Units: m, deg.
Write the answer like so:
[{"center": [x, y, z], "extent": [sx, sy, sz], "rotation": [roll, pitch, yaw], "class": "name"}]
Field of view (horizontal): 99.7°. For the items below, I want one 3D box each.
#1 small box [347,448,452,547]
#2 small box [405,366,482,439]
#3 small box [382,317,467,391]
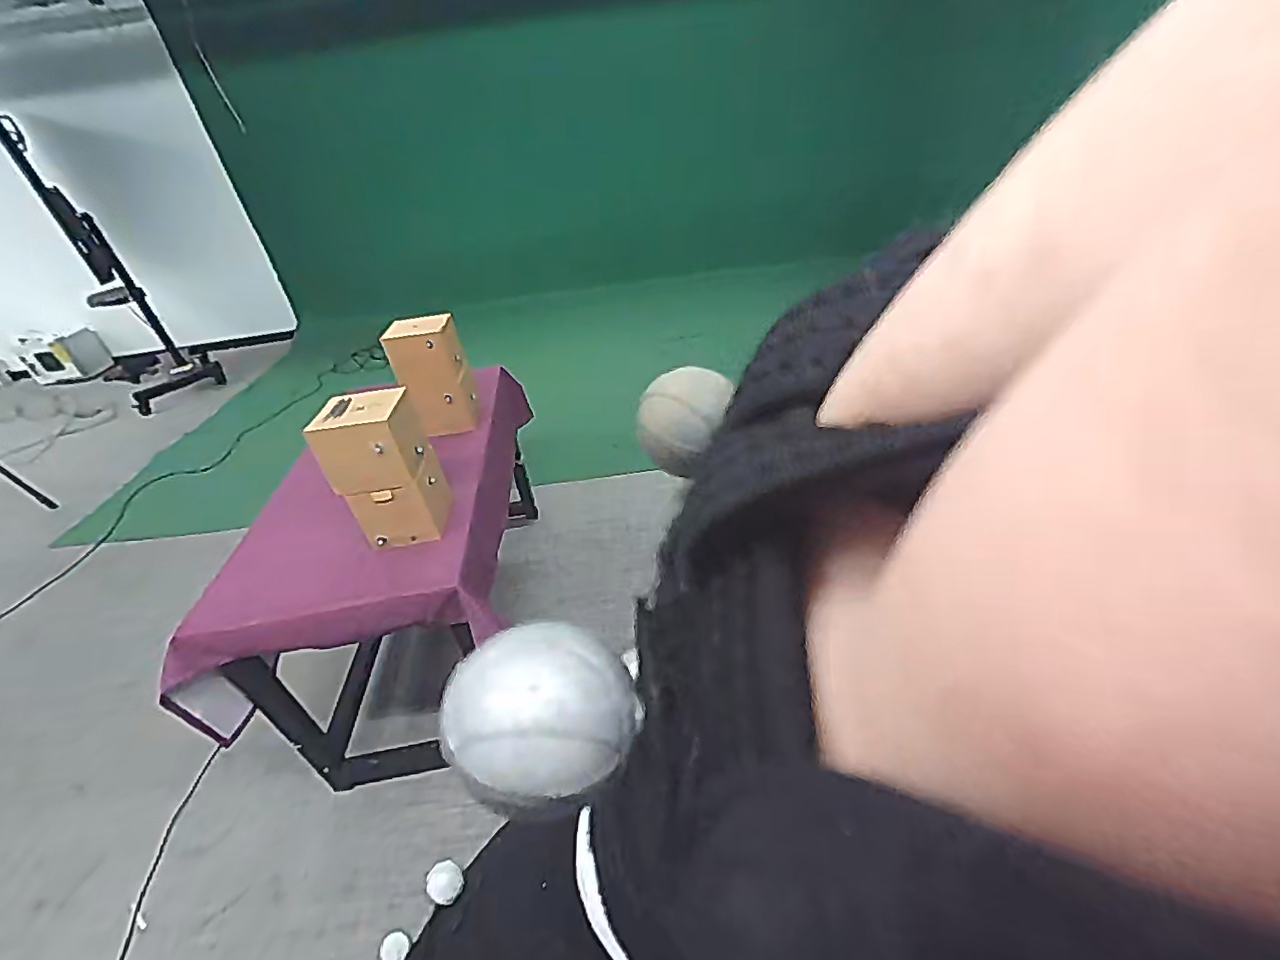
[{"center": [-0.574, 0.048, 1.320], "extent": [0.168, 0.176, 0.179], "rotation": [-9, 34, -1], "class": "small box"}, {"center": [-0.626, -0.249, 1.749], "extent": [0.179, 0.176, 0.168], "rotation": [-9, 35, 0], "class": "small box"}, {"center": [-0.653, -0.383, 1.659], "extent": [0.179, 0.176, 0.168], "rotation": [-8, 35, -1], "class": "small box"}]
